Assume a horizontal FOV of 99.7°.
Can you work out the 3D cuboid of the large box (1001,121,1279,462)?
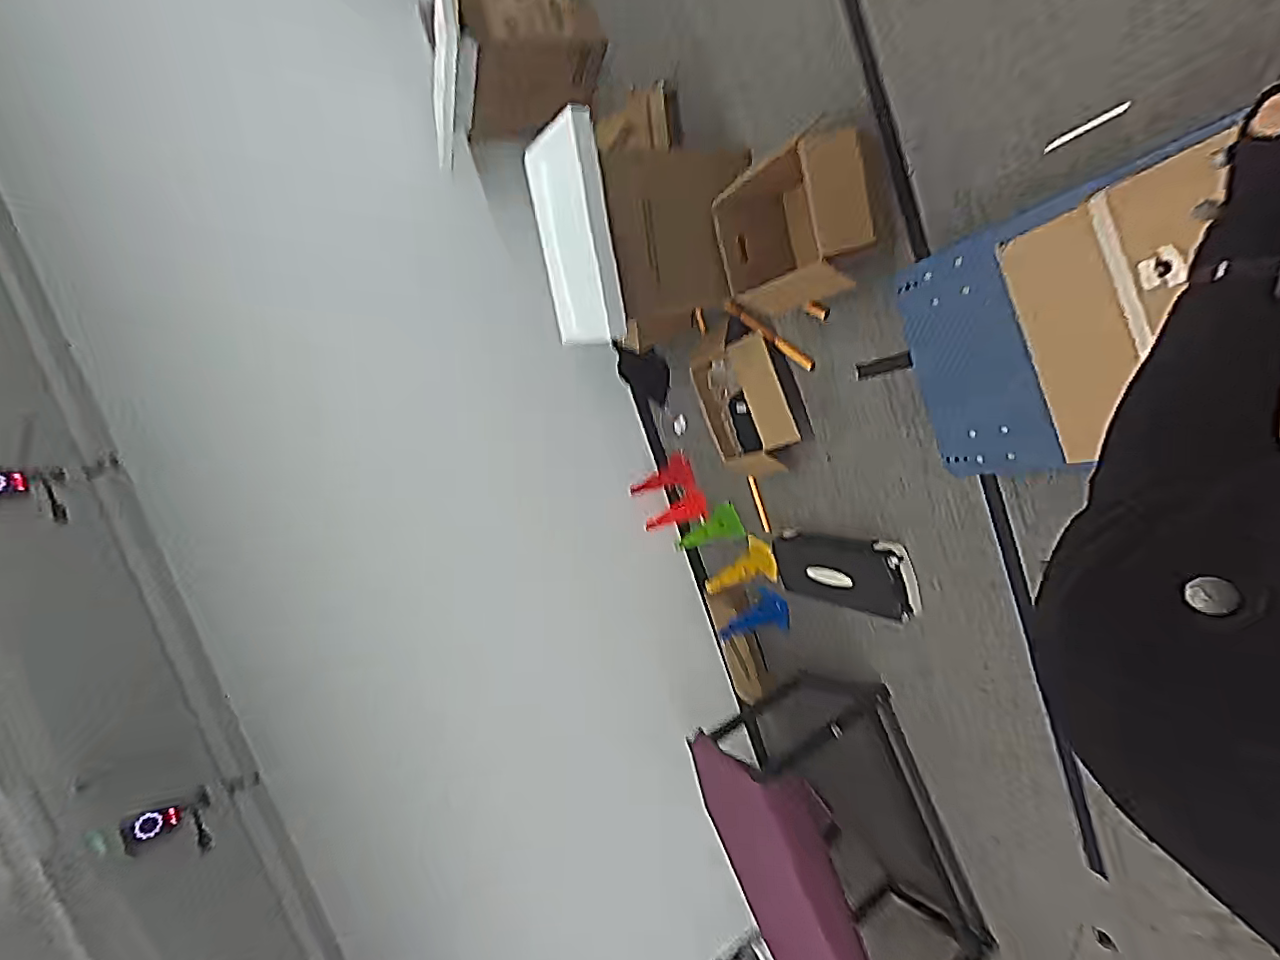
[{"bbox_3d":[0.883,-0.280,0.864,0.320,0.320,0.408,-18,92,66],"label":"large box"}]
